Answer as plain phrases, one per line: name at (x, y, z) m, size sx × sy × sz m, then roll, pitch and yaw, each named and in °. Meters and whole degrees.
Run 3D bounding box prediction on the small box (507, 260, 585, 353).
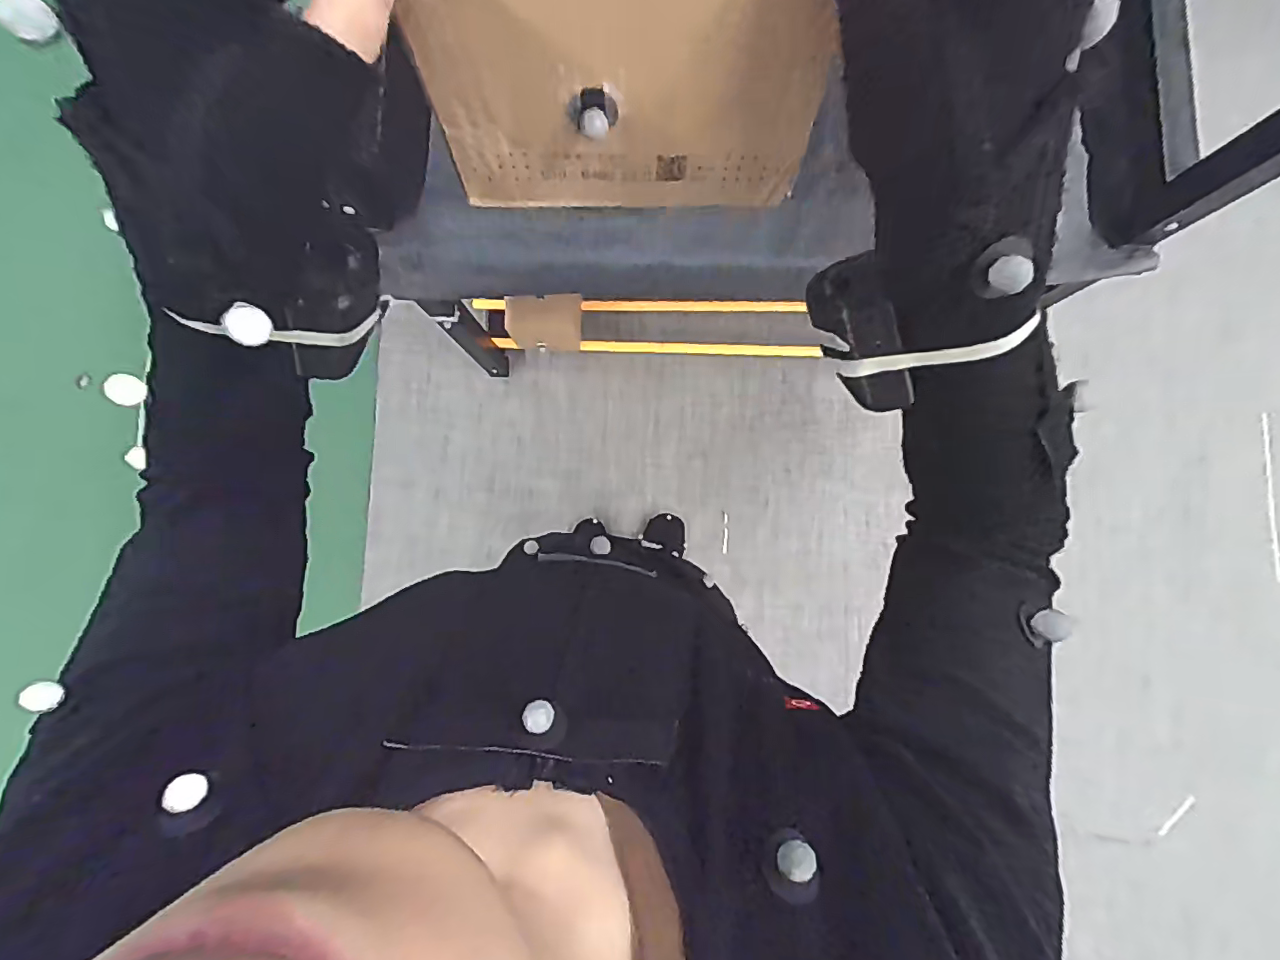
small box at (-0.231, -0.432, 1.363) m, size 0.168 × 0.176 × 0.179 m, roll 1°, pitch 87°, yaw 0°
